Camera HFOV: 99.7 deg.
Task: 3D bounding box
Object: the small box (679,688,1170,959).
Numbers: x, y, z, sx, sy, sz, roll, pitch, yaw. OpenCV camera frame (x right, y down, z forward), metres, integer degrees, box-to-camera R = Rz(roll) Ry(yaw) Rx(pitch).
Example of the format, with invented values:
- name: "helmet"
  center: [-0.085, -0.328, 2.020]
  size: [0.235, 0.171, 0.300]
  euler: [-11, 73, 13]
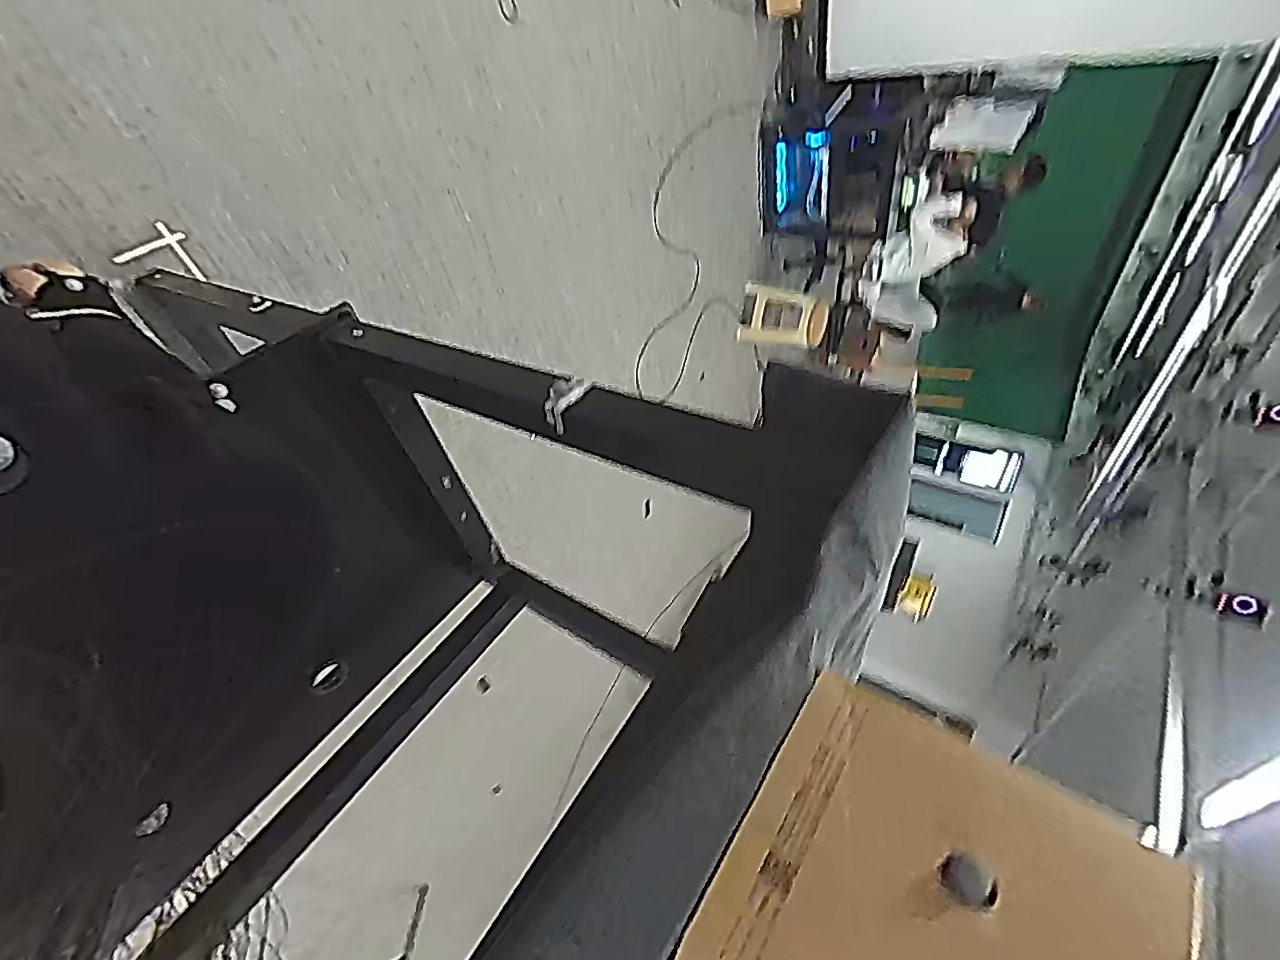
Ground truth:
- name: "small box"
  center: [0.131, 0.244, 0.292]
  size: [0.168, 0.176, 0.179]
  euler: [-47, 146, -32]
